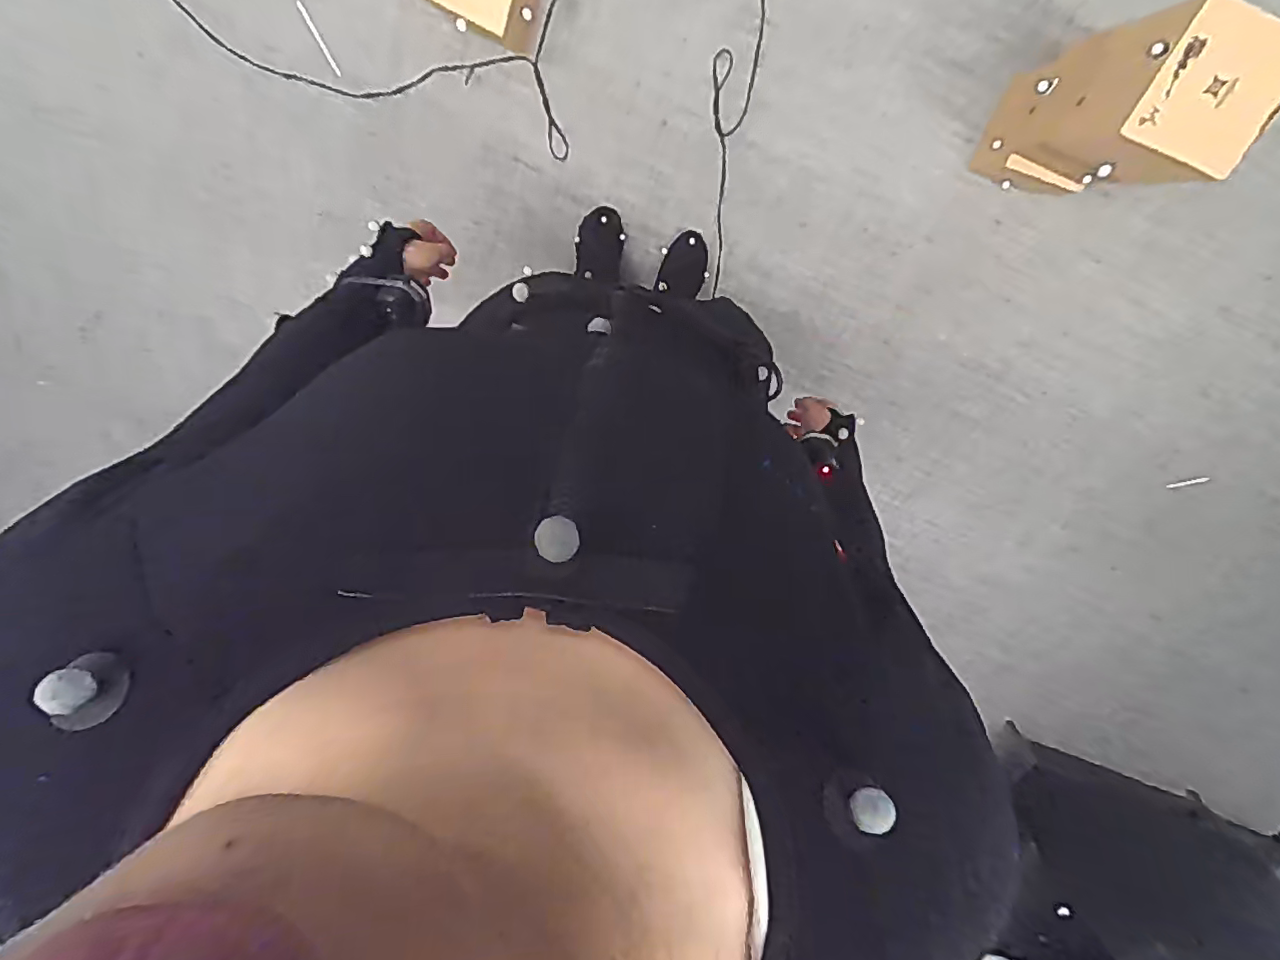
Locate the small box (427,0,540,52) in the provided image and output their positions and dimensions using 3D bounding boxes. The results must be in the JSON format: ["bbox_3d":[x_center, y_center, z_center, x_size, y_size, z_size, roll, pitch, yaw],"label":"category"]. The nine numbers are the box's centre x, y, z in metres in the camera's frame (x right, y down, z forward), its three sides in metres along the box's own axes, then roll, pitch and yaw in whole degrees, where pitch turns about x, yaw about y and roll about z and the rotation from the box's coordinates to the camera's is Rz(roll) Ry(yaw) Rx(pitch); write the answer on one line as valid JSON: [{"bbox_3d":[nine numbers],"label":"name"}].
[{"bbox_3d":[-0.292,-0.958,1.031,0.179,0.176,0.168,24,117,-7],"label":"small box"}]

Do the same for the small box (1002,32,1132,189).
[{"bbox_3d":[0.789,-0.625,0.938,0.179,0.176,0.168,21,117,-5],"label":"small box"}]

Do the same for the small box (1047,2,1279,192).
[{"bbox_3d":[0.769,-0.545,0.795,0.179,0.176,0.168,20,117,-6],"label":"small box"}]
